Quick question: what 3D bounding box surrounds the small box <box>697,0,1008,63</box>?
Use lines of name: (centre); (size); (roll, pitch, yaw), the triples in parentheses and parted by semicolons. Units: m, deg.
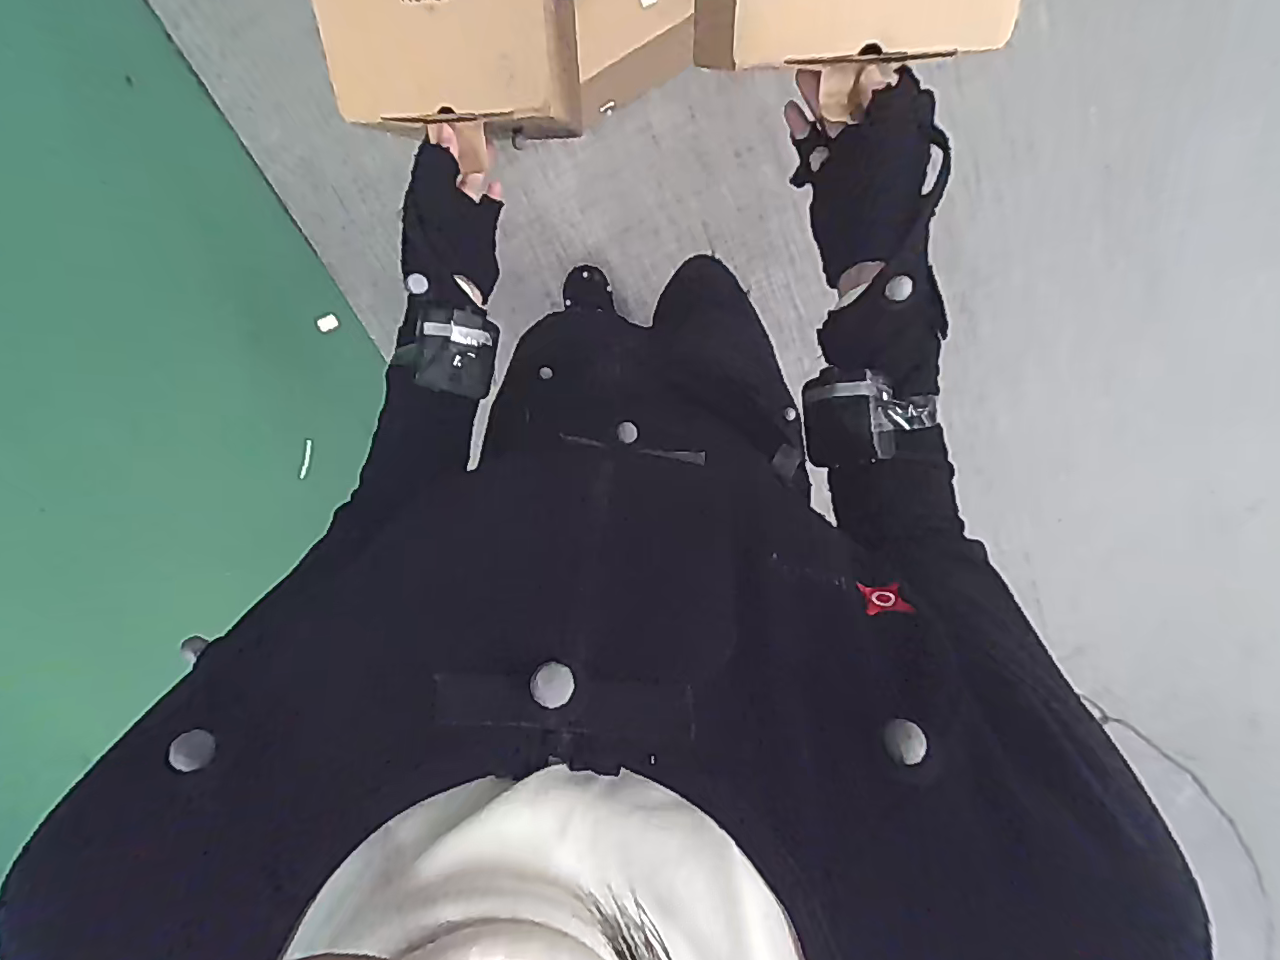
small box: (0.128, -0.376, 0.337); (0.168, 0.176, 0.179); (-4, 128, -1)
